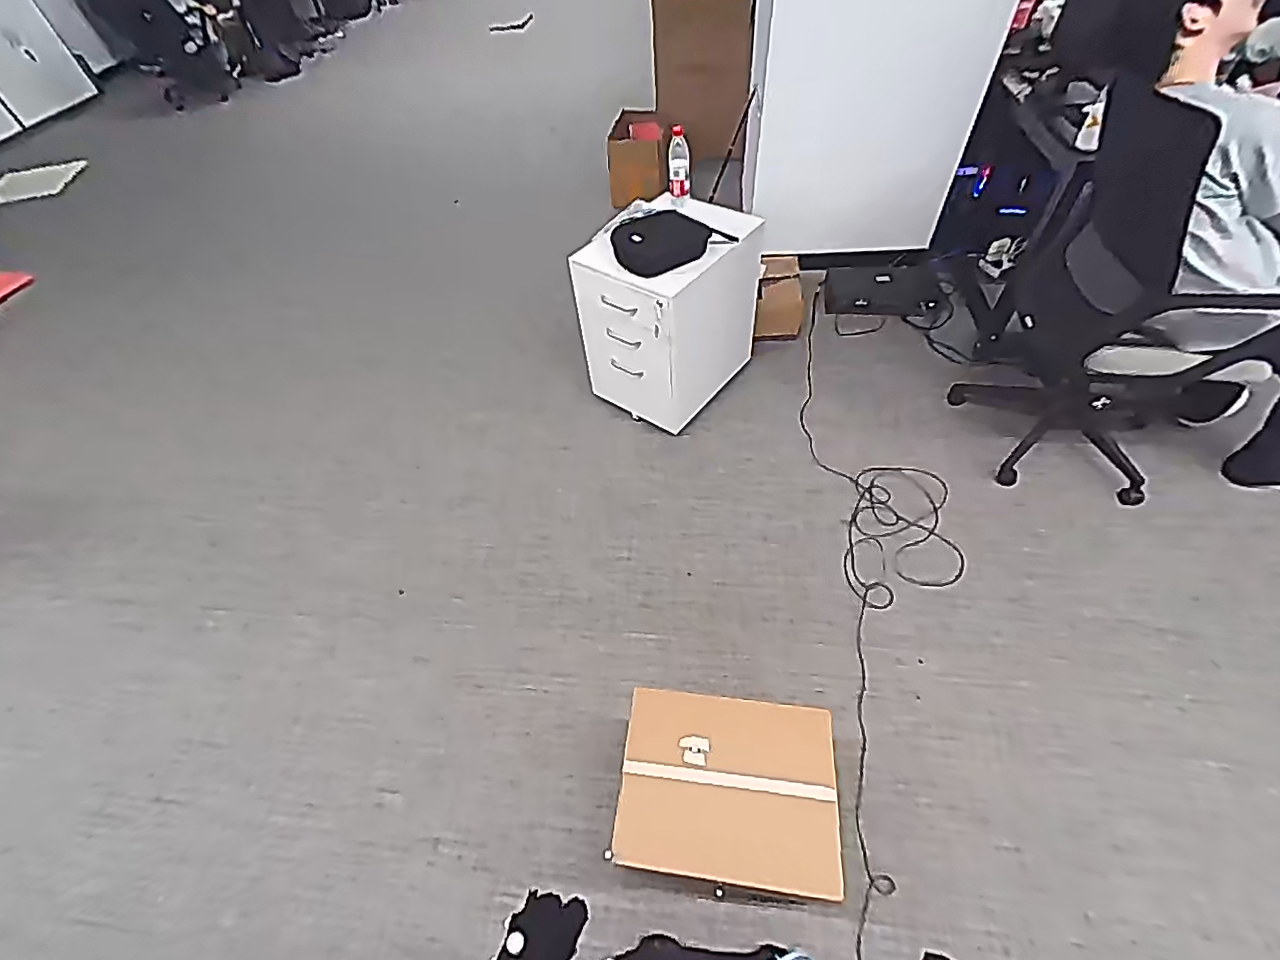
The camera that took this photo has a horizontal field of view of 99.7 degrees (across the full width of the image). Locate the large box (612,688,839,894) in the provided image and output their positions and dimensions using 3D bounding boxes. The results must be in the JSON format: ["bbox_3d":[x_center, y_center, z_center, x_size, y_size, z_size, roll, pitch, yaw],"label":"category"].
[{"bbox_3d":[0.177,0.664,1.154,0.408,0.320,0.320,3,52,9],"label":"large box"}]
